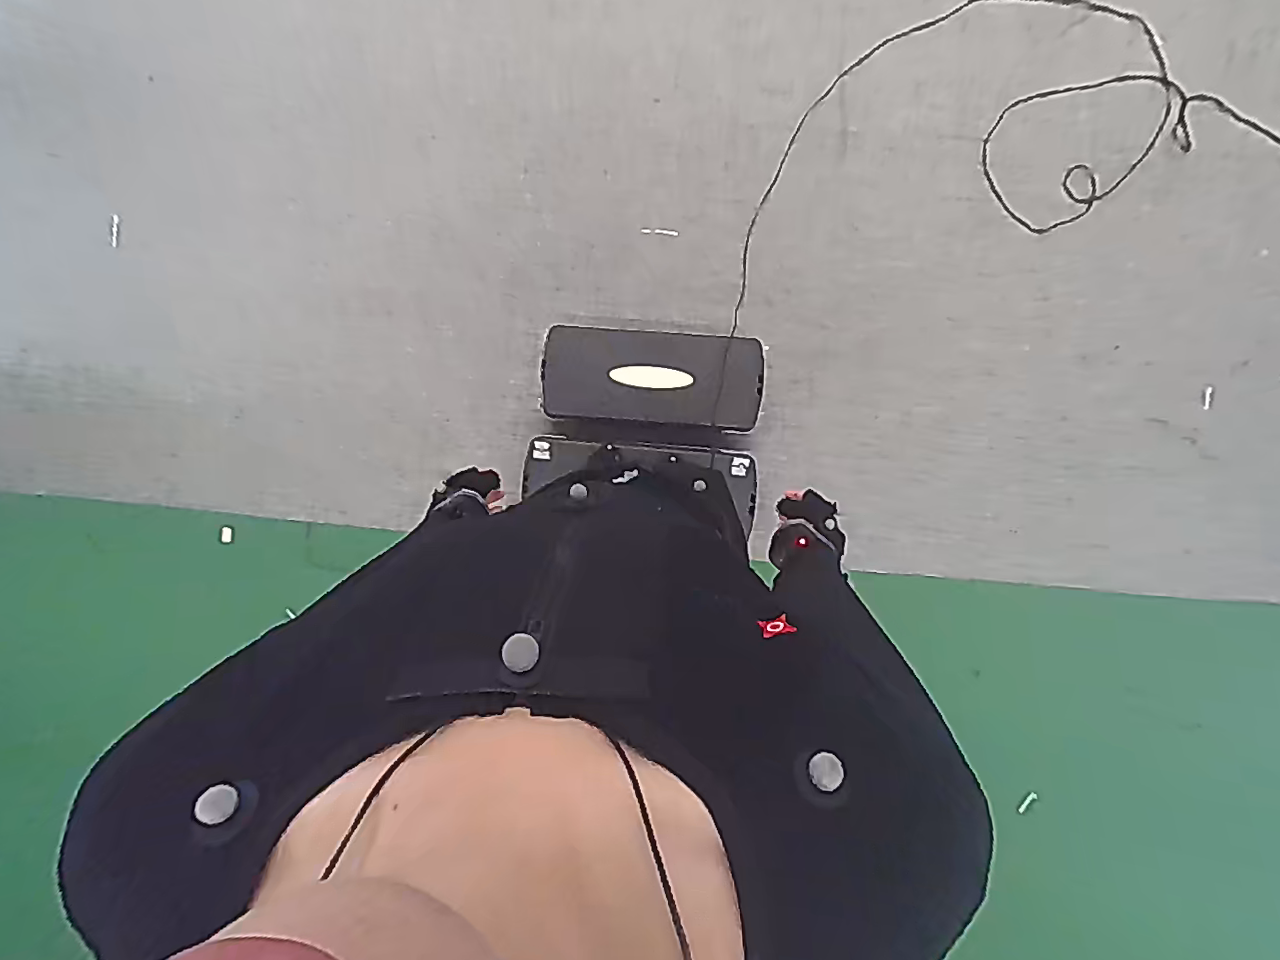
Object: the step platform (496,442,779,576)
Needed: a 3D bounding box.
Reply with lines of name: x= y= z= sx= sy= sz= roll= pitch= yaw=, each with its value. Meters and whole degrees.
step platform: x=-0.005 y=0.067 z=1.396 sx=0.684 sy=0.204 sz=0.286 roll=4 pitch=92 yaw=1
